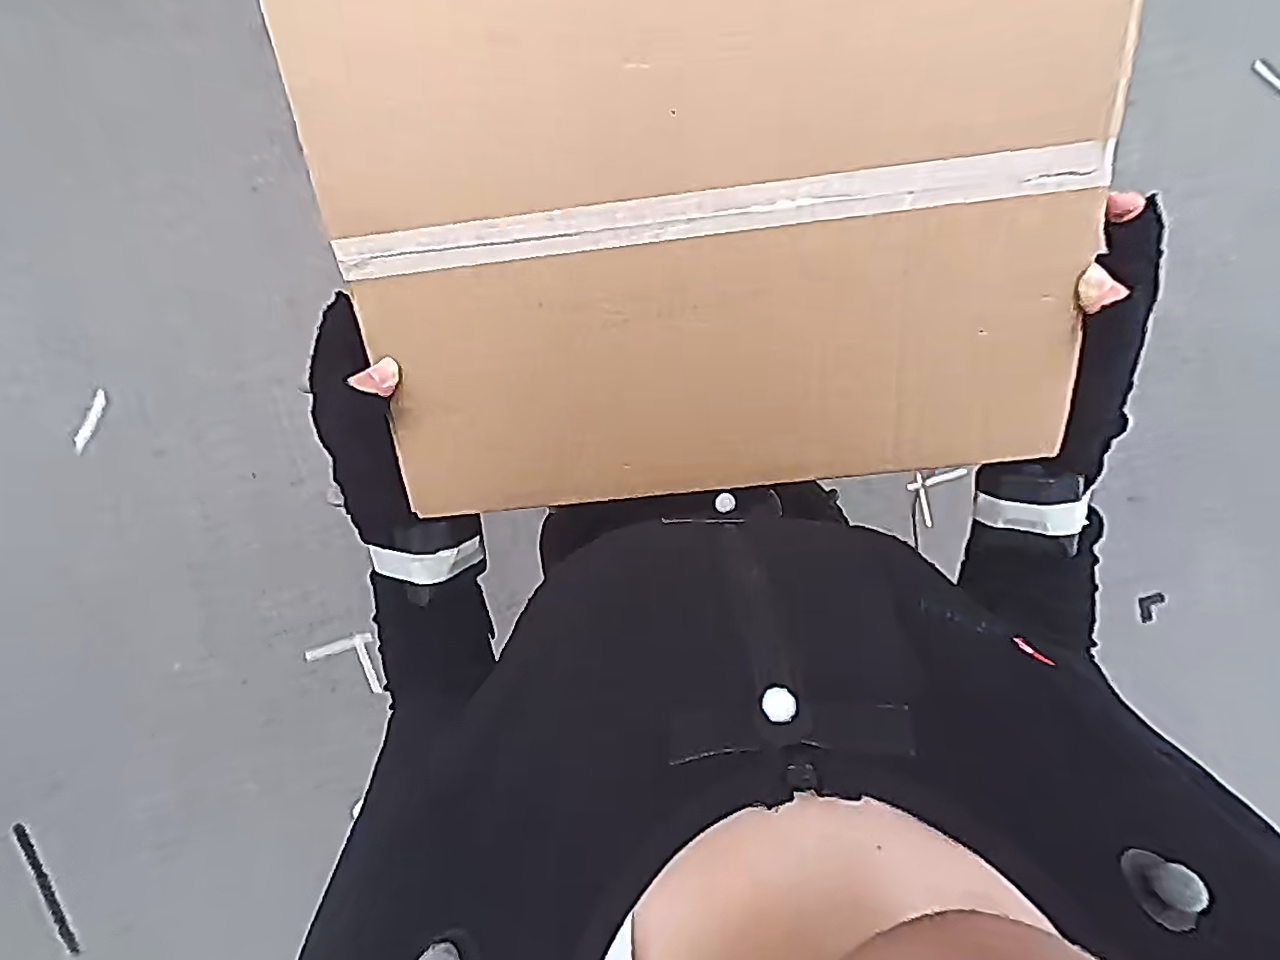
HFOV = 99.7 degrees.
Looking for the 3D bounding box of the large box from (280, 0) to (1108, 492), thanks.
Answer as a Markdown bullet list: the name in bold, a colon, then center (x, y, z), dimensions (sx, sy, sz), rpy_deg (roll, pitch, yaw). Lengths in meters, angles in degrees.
- **large box**: center (0.033, -0.208, 0.431), dimensions (0.408, 0.320, 0.320), rpy_deg (-6, 113, 2)
